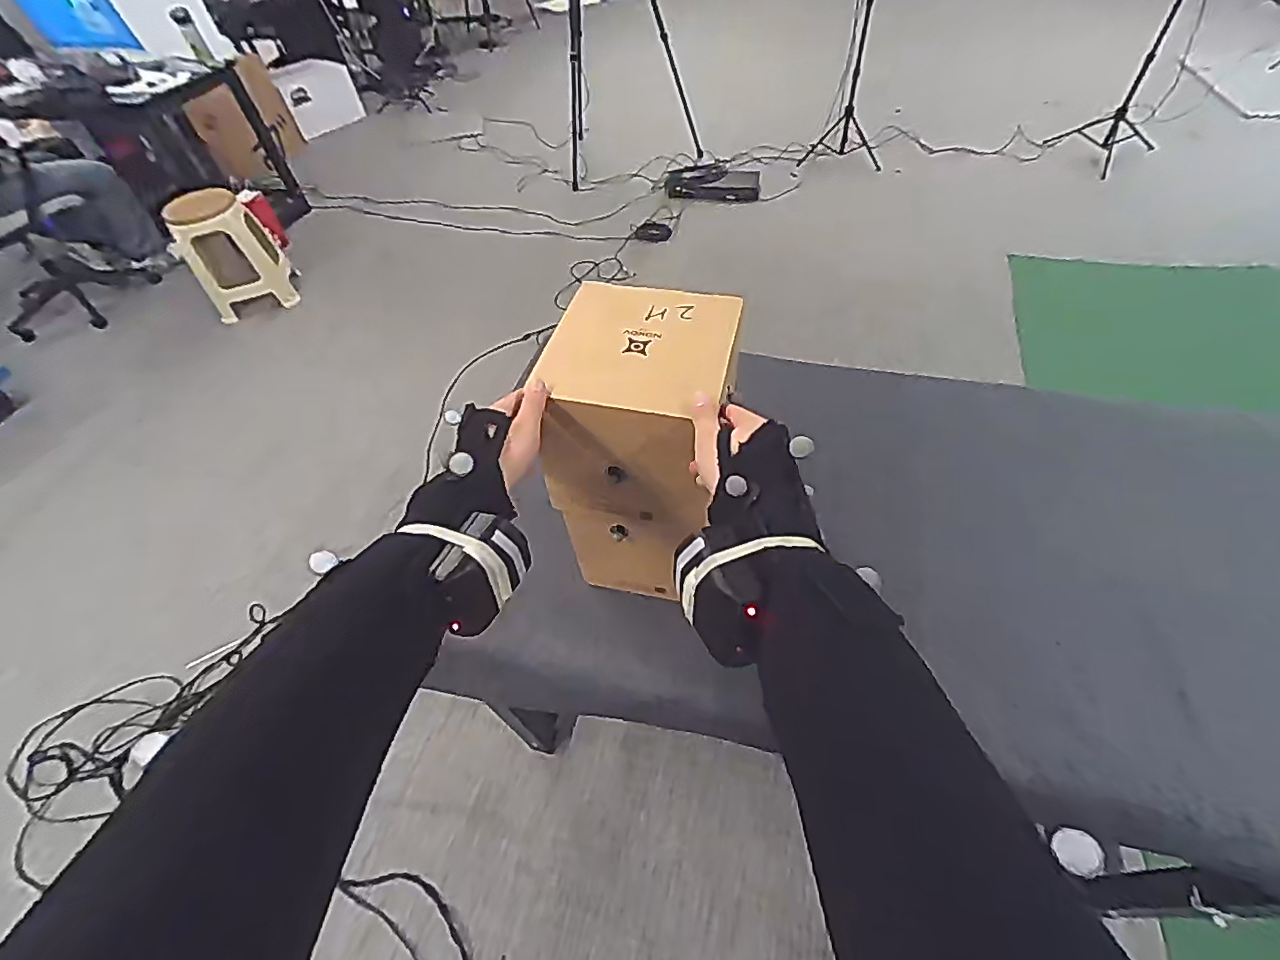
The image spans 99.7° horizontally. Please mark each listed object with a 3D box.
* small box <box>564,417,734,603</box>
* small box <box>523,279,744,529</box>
[{"bbox_3d":[0.018,0.027,0.682,0.168,0.176,0.179,9,52,11],"label":"small box"},{"bbox_3d":[0.004,-0.074,0.548,0.168,0.176,0.179,11,52,10],"label":"small box"}]
